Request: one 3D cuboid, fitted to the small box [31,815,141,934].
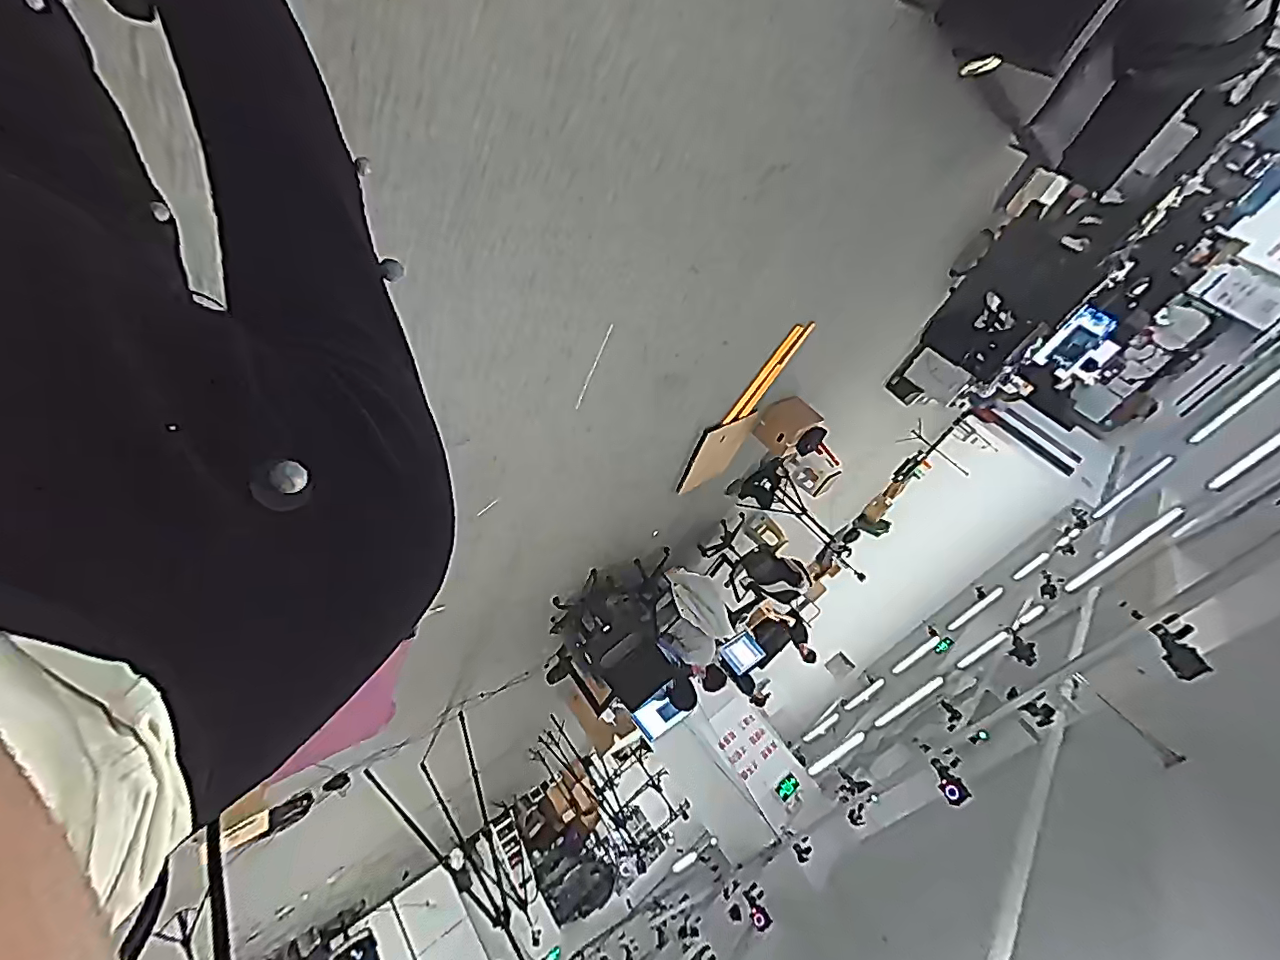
[{"bbox_3d":[-1.433,1.015,1.403,0.168,0.176,0.179,-17,144,-45],"label":"small box"}]

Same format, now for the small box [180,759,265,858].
[{"bbox_3d":[-1.240,0.968,1.608,0.168,0.176,0.179,-15,145,-45],"label":"small box"}]
